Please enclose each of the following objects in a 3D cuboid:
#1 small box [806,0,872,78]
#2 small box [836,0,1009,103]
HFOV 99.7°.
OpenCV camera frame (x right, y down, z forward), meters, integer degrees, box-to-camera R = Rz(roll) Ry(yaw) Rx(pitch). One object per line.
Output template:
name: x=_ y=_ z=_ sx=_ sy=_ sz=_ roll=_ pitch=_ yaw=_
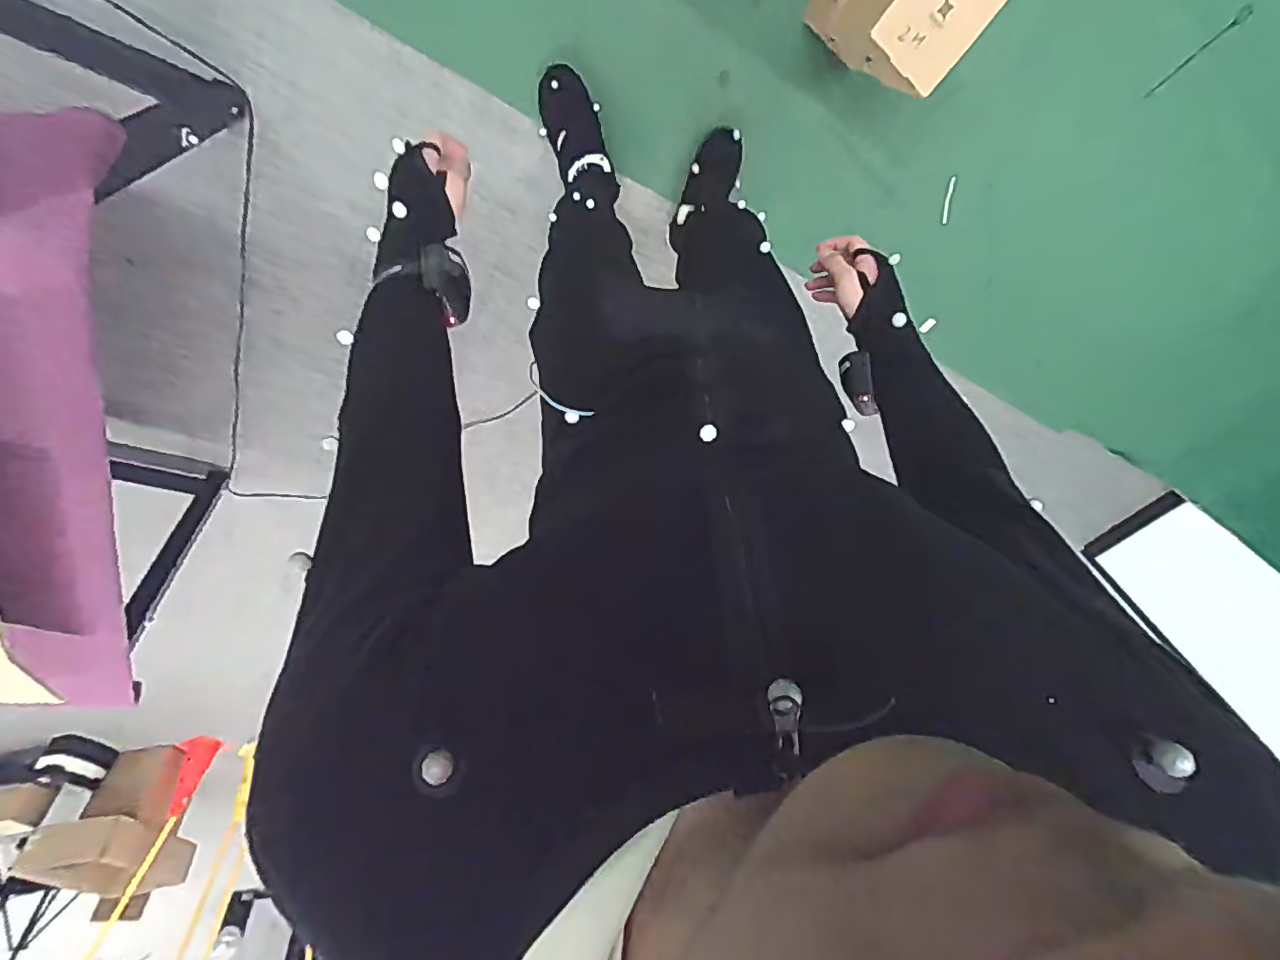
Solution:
small box: x=0.456 y=-0.930 z=1.051 sx=0.168 sy=0.176 sz=0.179 roll=20 pitch=128 yaw=-28
small box: x=0.479 y=-0.811 z=0.939 sx=0.168 sy=0.176 sz=0.179 roll=22 pitch=127 yaw=-29
